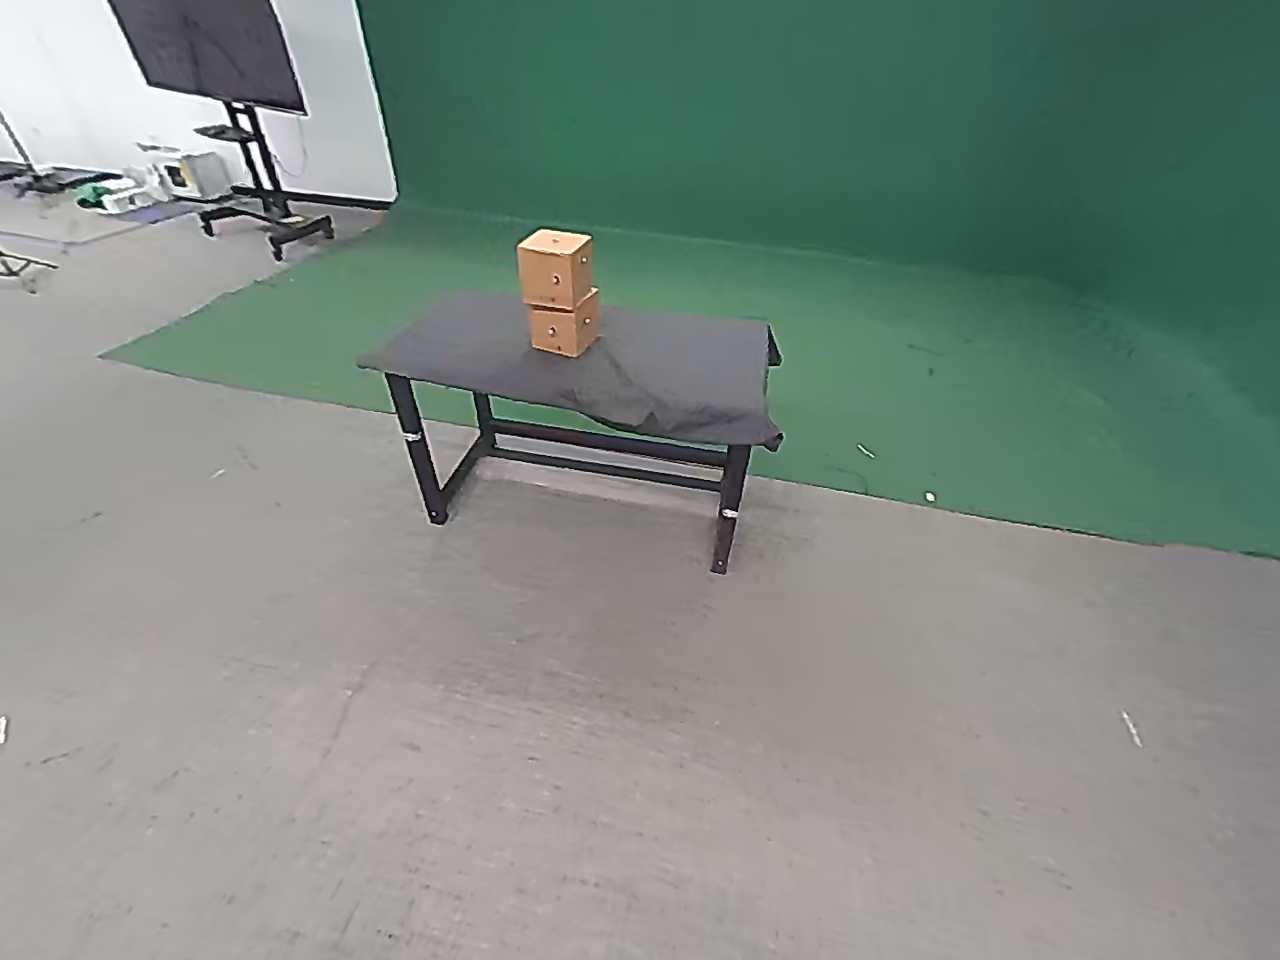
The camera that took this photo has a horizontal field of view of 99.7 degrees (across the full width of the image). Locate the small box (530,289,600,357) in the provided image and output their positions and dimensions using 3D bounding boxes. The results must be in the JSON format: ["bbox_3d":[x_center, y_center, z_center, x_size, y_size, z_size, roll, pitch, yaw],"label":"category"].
[{"bbox_3d":[-0.236,-0.522,1.764,0.168,0.176,0.179,16,43,15],"label":"small box"}]

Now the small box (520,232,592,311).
[{"bbox_3d":[-0.246,-0.632,1.642,0.168,0.176,0.179,13,41,10],"label":"small box"}]
